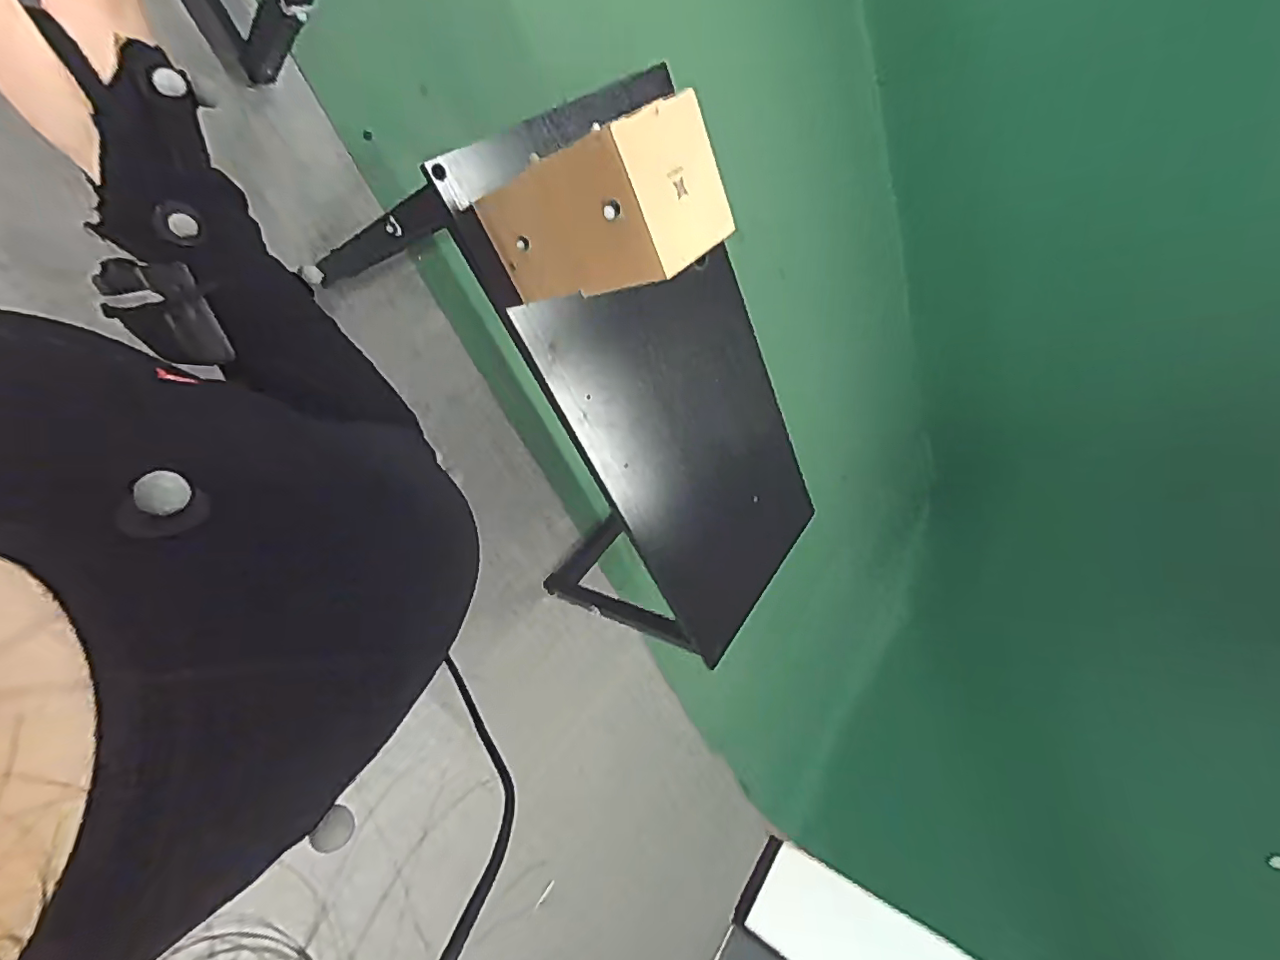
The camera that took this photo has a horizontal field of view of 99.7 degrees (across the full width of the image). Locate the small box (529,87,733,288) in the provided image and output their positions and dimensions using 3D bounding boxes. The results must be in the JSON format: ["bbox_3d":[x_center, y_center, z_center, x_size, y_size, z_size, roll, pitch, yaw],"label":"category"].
[{"bbox_3d":[-0.011,-0.369,0.712,0.168,0.176,0.179,-46,125,-30],"label":"small box"}]

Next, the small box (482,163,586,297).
[{"bbox_3d":[-0.117,-0.401,0.833,0.179,0.176,0.168,-46,126,-30],"label":"small box"}]
